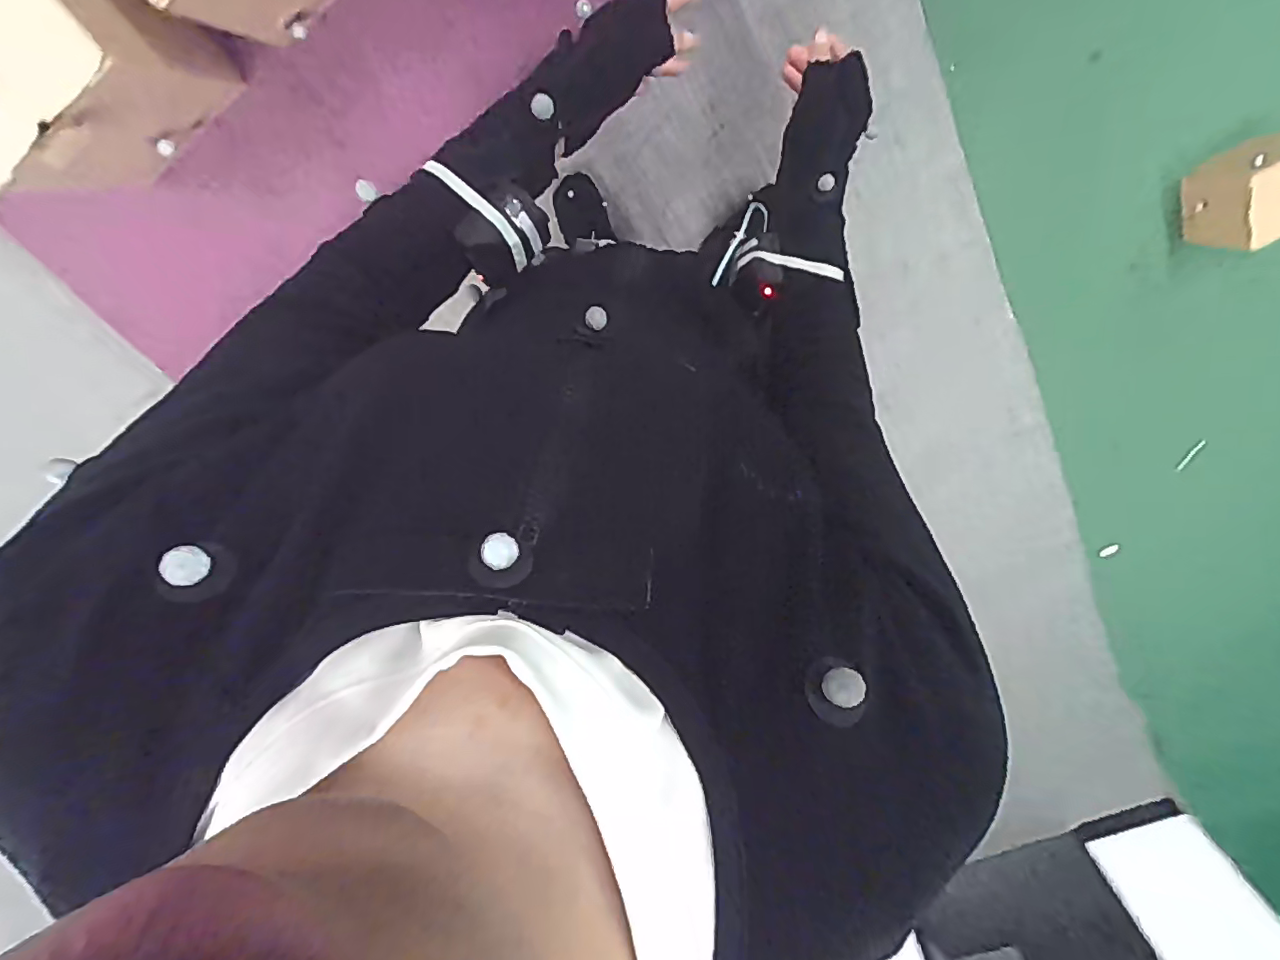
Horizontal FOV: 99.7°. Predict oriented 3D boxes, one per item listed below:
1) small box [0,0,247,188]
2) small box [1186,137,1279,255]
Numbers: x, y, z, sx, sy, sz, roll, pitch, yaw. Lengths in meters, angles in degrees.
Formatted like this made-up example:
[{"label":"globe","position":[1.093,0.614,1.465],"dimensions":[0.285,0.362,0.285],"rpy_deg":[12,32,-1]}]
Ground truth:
[{"label":"small box","position":[-0.495,-0.373,0.450],"dimensions":[0.168,0.176,0.179],"rpy_deg":[-29,117,15]},{"label":"small box","position":[1.360,-0.623,1.178],"dimensions":[0.179,0.176,0.168],"rpy_deg":[-27,118,15]}]
